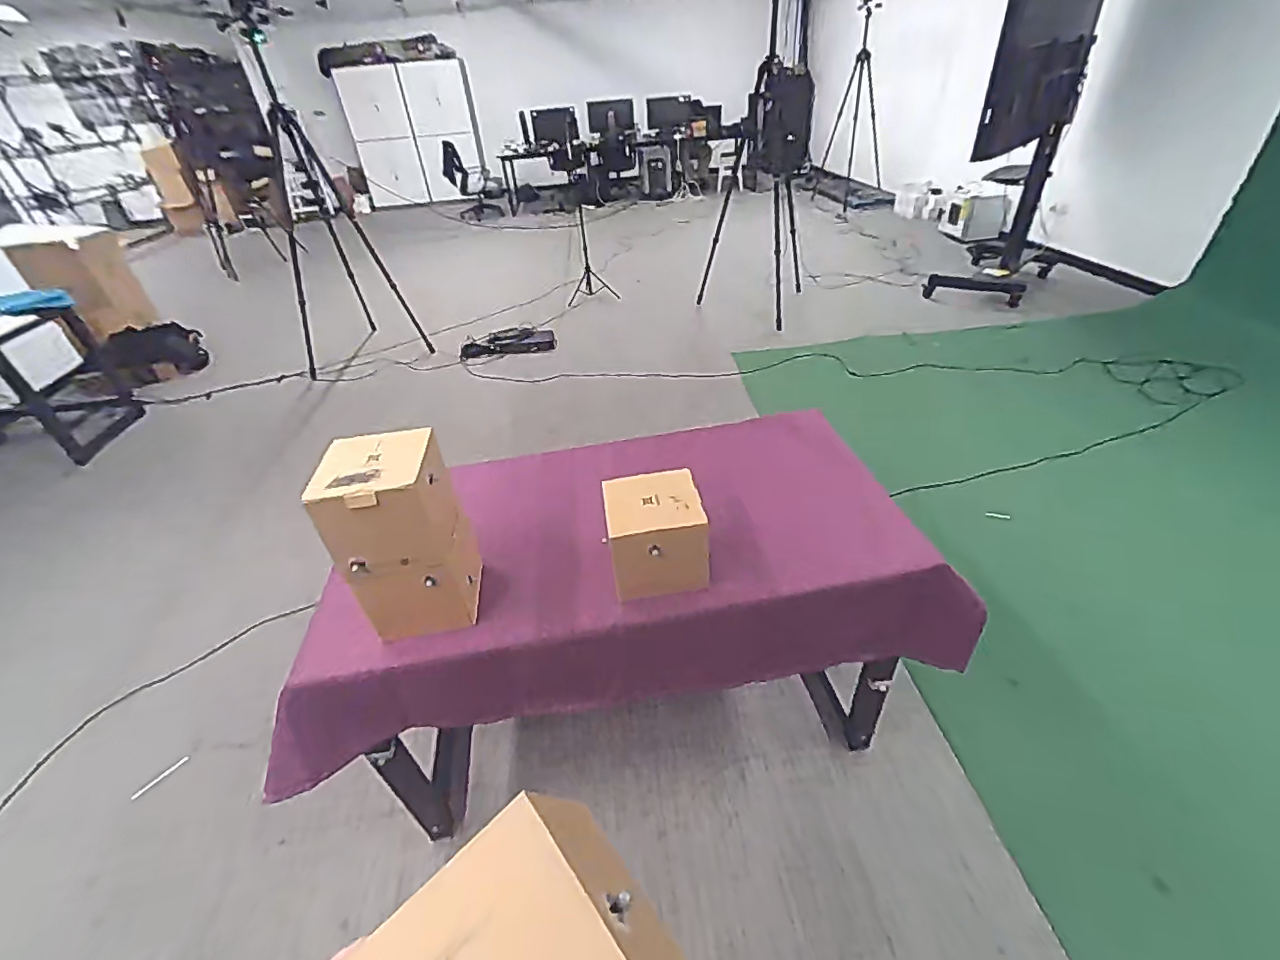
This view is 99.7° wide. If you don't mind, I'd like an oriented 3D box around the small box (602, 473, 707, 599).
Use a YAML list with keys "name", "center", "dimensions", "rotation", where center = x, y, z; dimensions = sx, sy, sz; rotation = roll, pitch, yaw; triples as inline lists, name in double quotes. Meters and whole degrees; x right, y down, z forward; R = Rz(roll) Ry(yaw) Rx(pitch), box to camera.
- name: "small box"
  center: [0.028, 0.109, 1.031]
  dimensions: [0.179, 0.176, 0.168]
  rotation: [-7, 37, -3]

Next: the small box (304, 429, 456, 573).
- name: "small box"
  center: [-0.417, 0.039, 0.904]
  dimensions: [0.168, 0.176, 0.179]
  rotation: [-8, 35, -6]

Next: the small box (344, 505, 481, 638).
- name: "small box"
  center: [-0.407, 0.172, 1.000]
  dimensions: [0.179, 0.176, 0.168]
  rotation: [-8, 37, -6]
